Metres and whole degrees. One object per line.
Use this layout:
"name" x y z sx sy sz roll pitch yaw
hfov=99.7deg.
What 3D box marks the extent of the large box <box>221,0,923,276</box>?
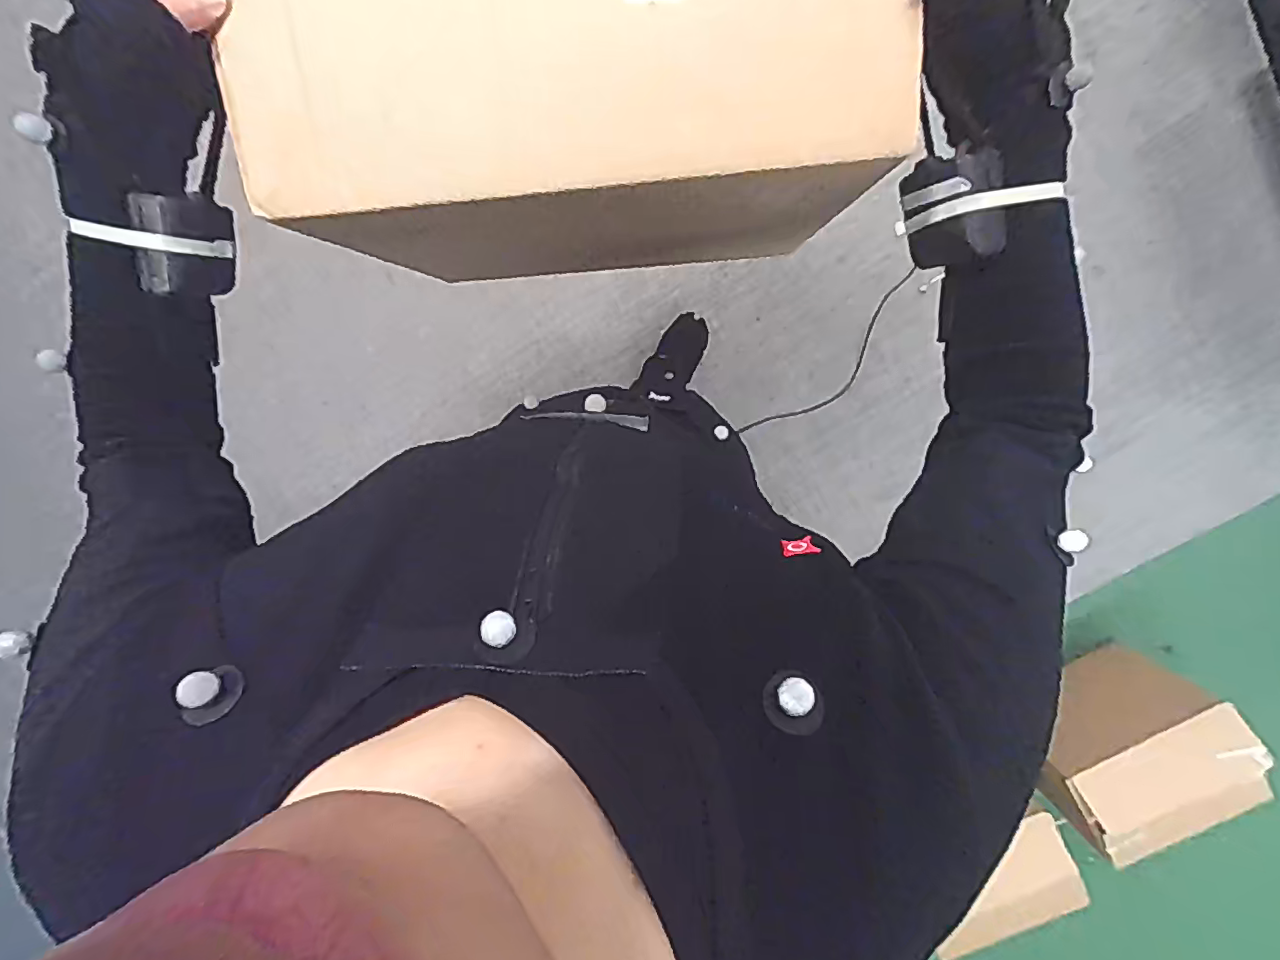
"large box" -0.044 -0.367 0.438 0.408 0.320 0.320 -4 104 2
